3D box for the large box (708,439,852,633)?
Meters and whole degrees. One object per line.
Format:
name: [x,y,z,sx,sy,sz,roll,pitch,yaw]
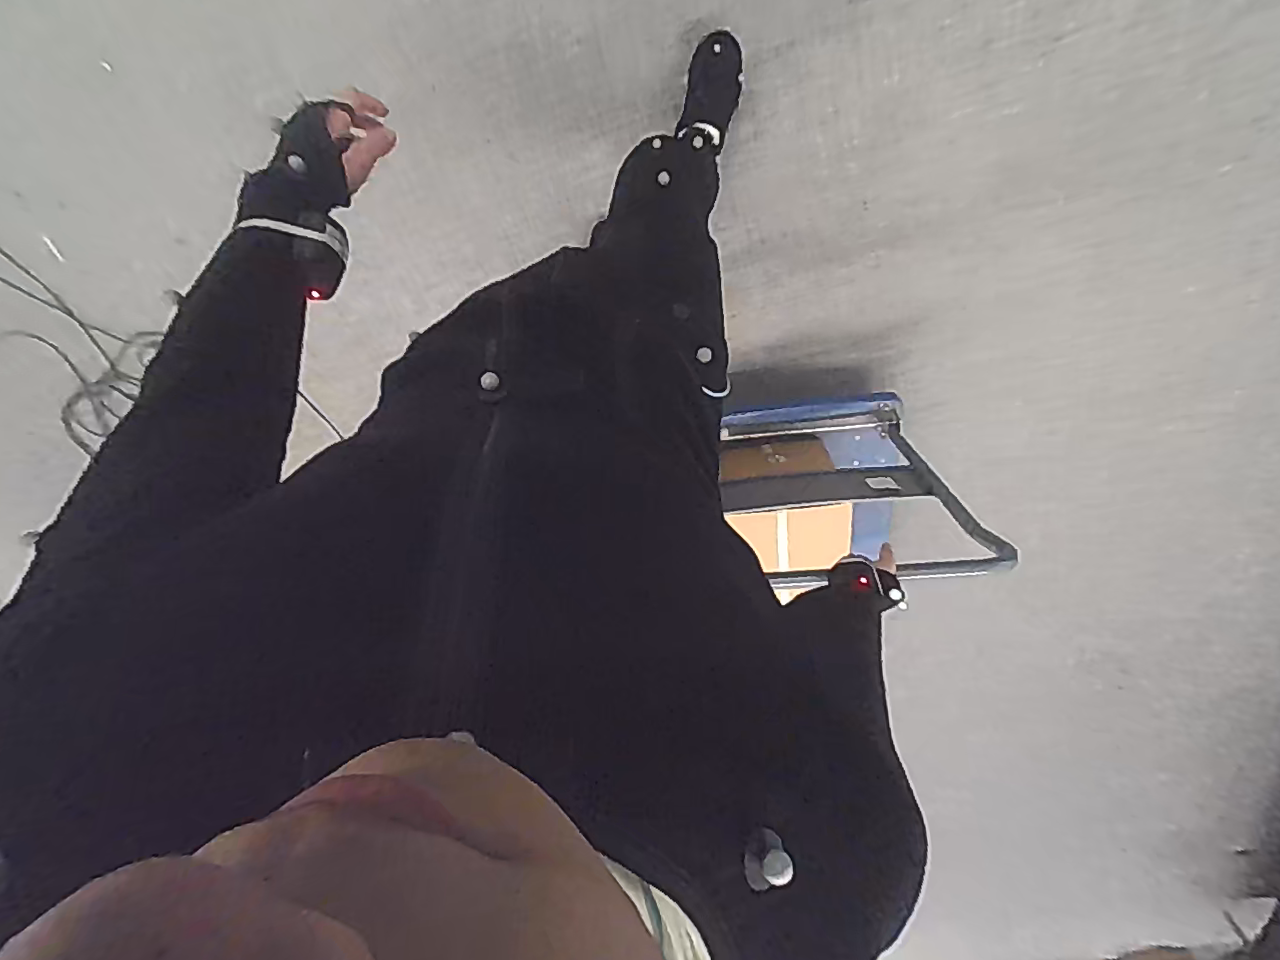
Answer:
large box: [0.364,0.148,1.456,0.320,0.320,0.408,-6,122,8]
